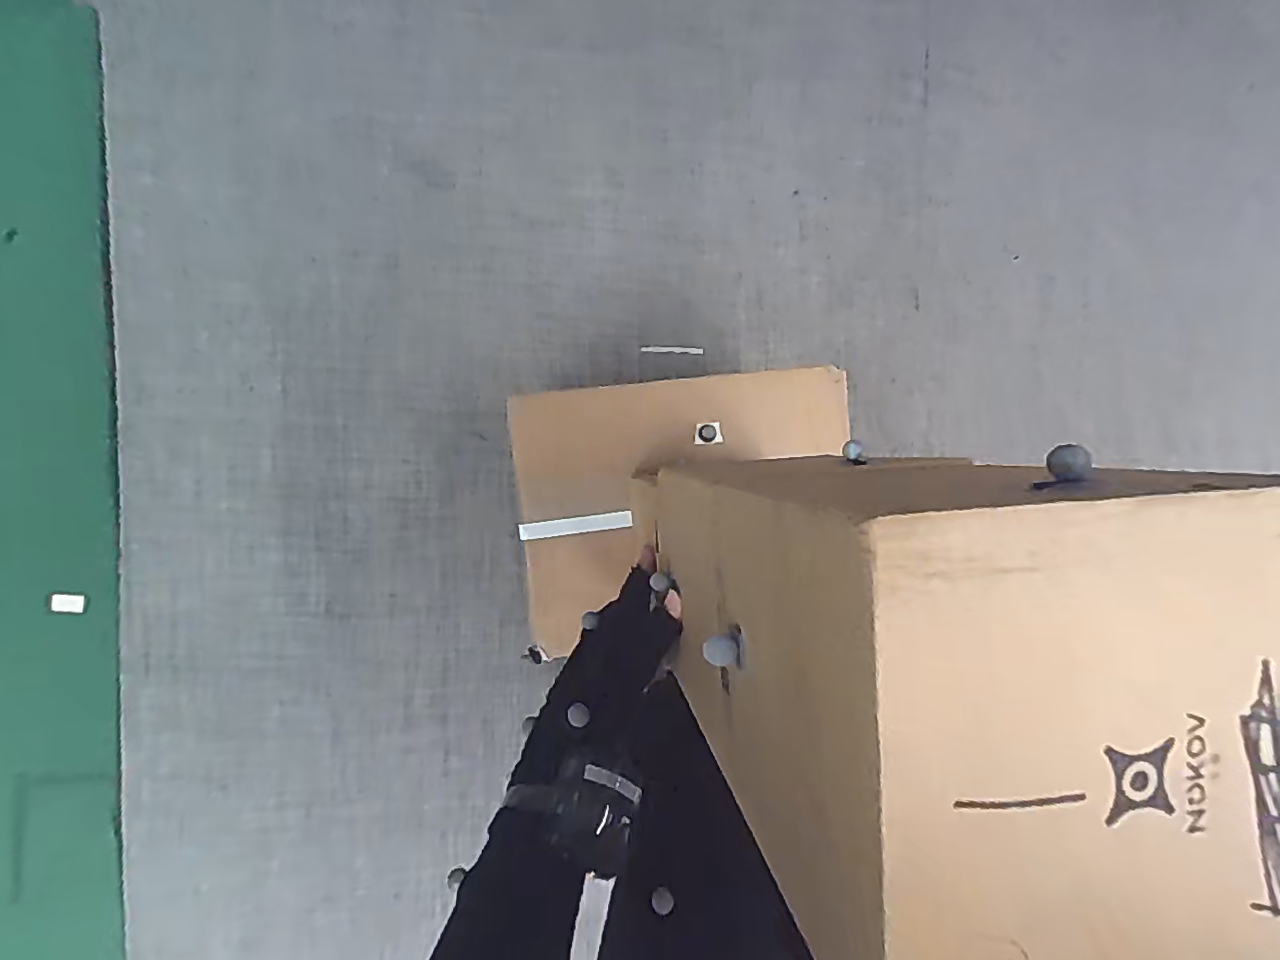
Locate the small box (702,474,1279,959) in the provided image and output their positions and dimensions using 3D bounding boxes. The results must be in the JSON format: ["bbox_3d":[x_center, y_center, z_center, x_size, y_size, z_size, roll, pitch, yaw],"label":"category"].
[{"bbox_3d":[0.138,0.088,0.230,0.179,0.176,0.168,-7,93,-8],"label":"small box"}]

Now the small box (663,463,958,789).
[{"bbox_3d":[0.113,0.082,0.392,0.168,0.176,0.179,-5,94,-7],"label":"small box"}]

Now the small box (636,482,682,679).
[{"bbox_3d":[0.091,0.084,0.555,0.179,0.176,0.168,-5,93,-8],"label":"small box"}]
